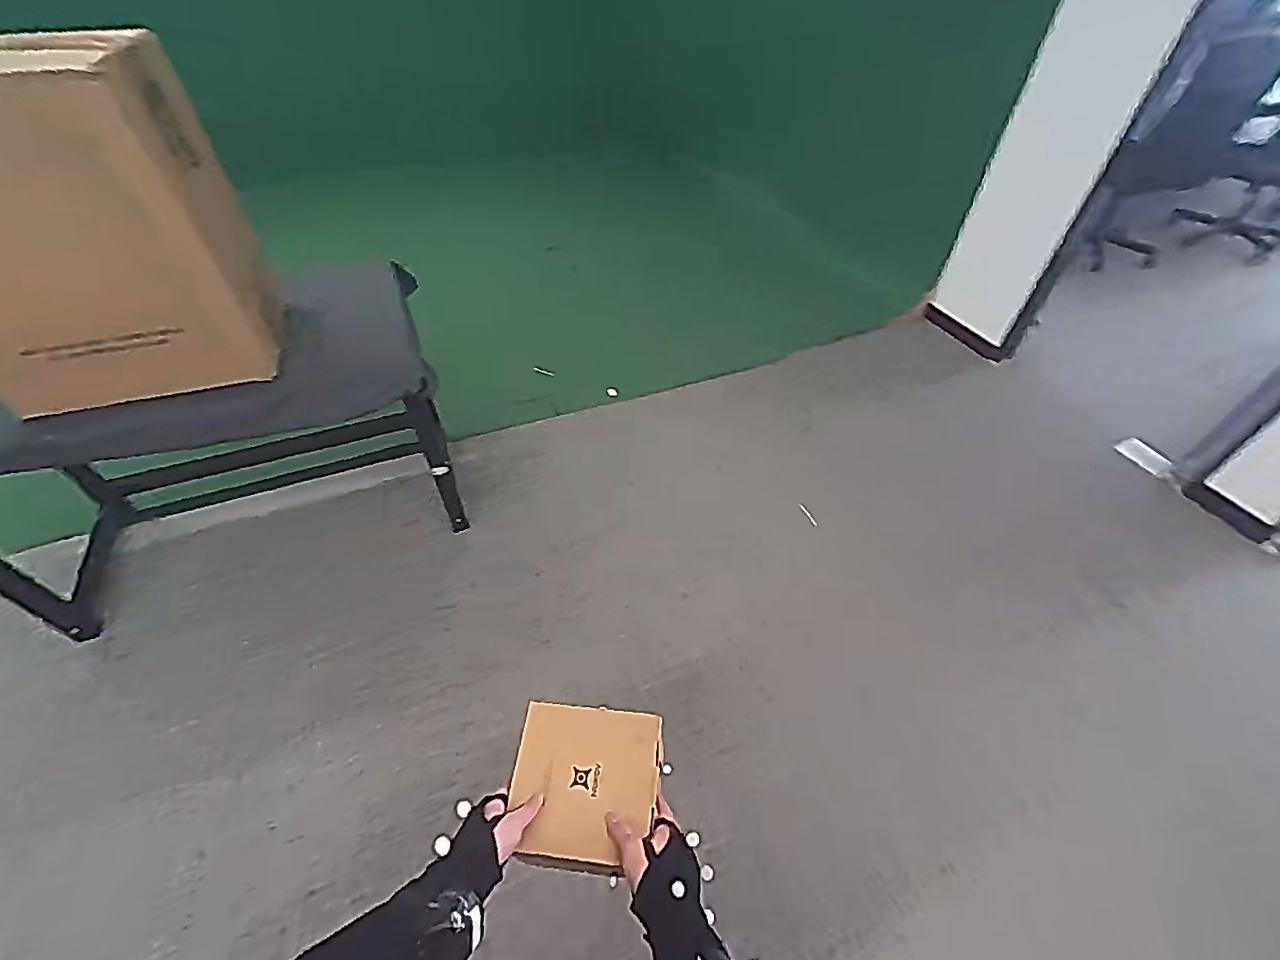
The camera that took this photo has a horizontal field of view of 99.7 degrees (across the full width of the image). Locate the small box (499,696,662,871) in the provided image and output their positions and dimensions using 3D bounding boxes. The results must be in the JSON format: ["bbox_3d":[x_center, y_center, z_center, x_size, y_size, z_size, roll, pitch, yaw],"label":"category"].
[{"bbox_3d":[-0.063,0.406,0.719,0.179,0.176,0.168,2,49,6],"label":"small box"}]
